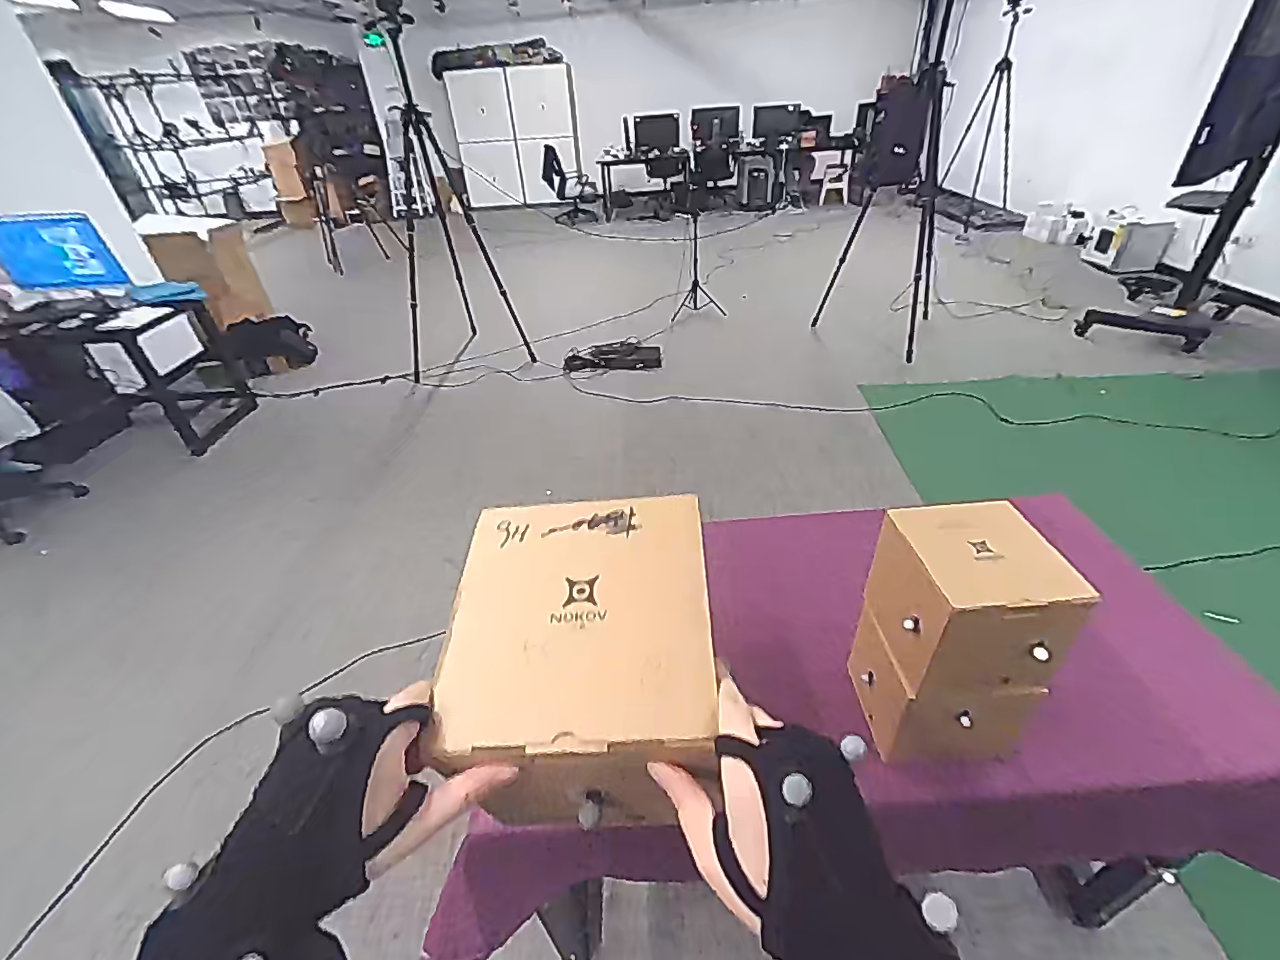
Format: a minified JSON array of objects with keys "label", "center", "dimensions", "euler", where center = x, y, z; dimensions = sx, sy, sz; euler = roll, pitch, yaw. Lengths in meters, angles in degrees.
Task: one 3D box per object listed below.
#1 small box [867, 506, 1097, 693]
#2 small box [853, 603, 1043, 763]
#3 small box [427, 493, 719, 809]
[{"label":"small box","center":[0.416,0.156,0.696],"dimensions":[0.168,0.176,0.179],"euler":[-4,35,0]},{"label":"small box","center":[0.425,0.292,0.787],"dimensions":[0.179,0.176,0.168],"euler":[-3,37,2]},{"label":"small box","center":[-0.028,0.132,0.405],"dimensions":[0.168,0.176,0.179],"euler":[-3,47,4]}]
